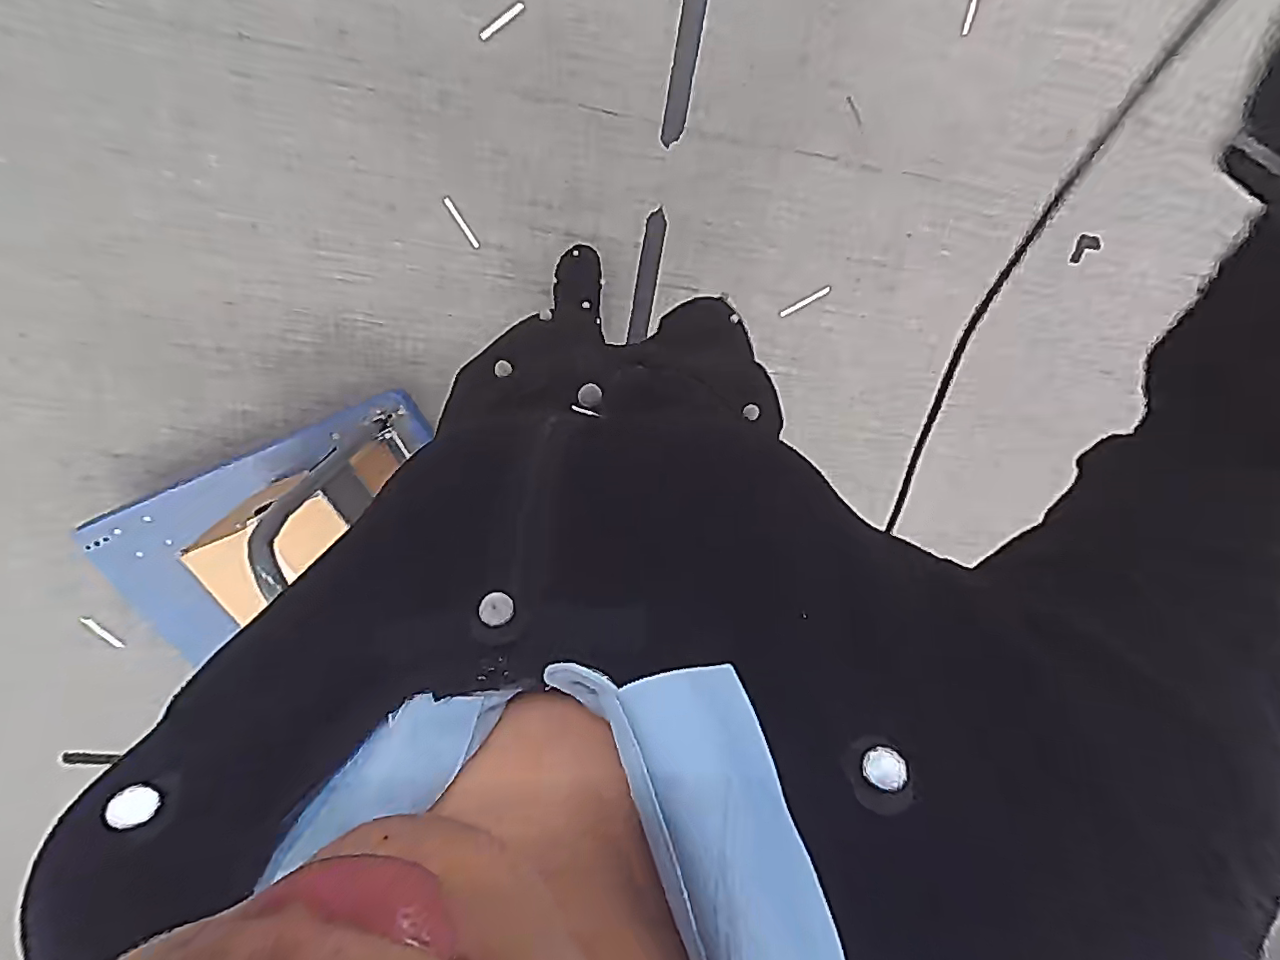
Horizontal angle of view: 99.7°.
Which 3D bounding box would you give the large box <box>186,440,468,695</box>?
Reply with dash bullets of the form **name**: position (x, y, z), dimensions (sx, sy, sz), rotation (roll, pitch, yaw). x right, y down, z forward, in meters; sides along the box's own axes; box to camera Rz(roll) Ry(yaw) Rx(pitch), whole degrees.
- **large box**: position (-0.641, 0.182, 1.203), dimensions (0.320, 0.320, 0.408), rotation (-23, 113, 3)
